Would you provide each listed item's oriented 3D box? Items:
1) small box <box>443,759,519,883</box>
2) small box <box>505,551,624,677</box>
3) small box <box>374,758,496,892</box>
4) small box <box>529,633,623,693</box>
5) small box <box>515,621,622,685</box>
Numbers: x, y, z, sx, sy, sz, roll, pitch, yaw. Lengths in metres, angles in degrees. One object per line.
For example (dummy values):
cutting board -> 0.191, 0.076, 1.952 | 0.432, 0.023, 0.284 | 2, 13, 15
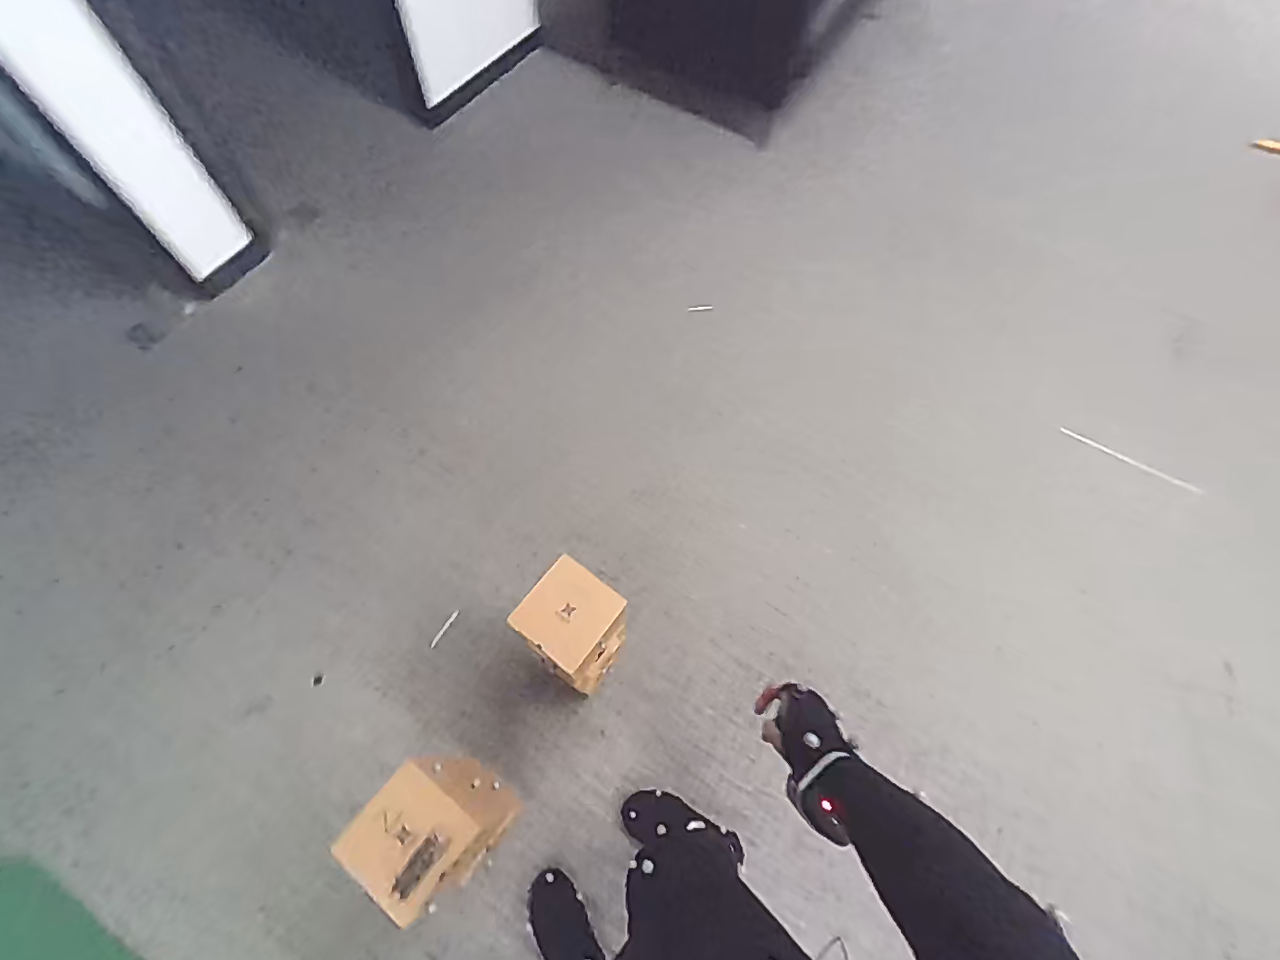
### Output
small box -> -0.398, 0.759, 1.230 | 0.179, 0.176, 0.168 | 34, 67, 13
small box -> -0.147, 0.281, 1.111 | 0.168, 0.176, 0.179 | 36, 67, 12
small box -> -0.405, 0.684, 1.094 | 0.179, 0.176, 0.168 | -19, 69, -11
small box -> -0.162, 0.433, 1.401 | 0.179, 0.176, 0.168 | 32, 66, 11
small box -> -0.161, 0.357, 1.256 | 0.179, 0.176, 0.168 | 36, 68, 13
